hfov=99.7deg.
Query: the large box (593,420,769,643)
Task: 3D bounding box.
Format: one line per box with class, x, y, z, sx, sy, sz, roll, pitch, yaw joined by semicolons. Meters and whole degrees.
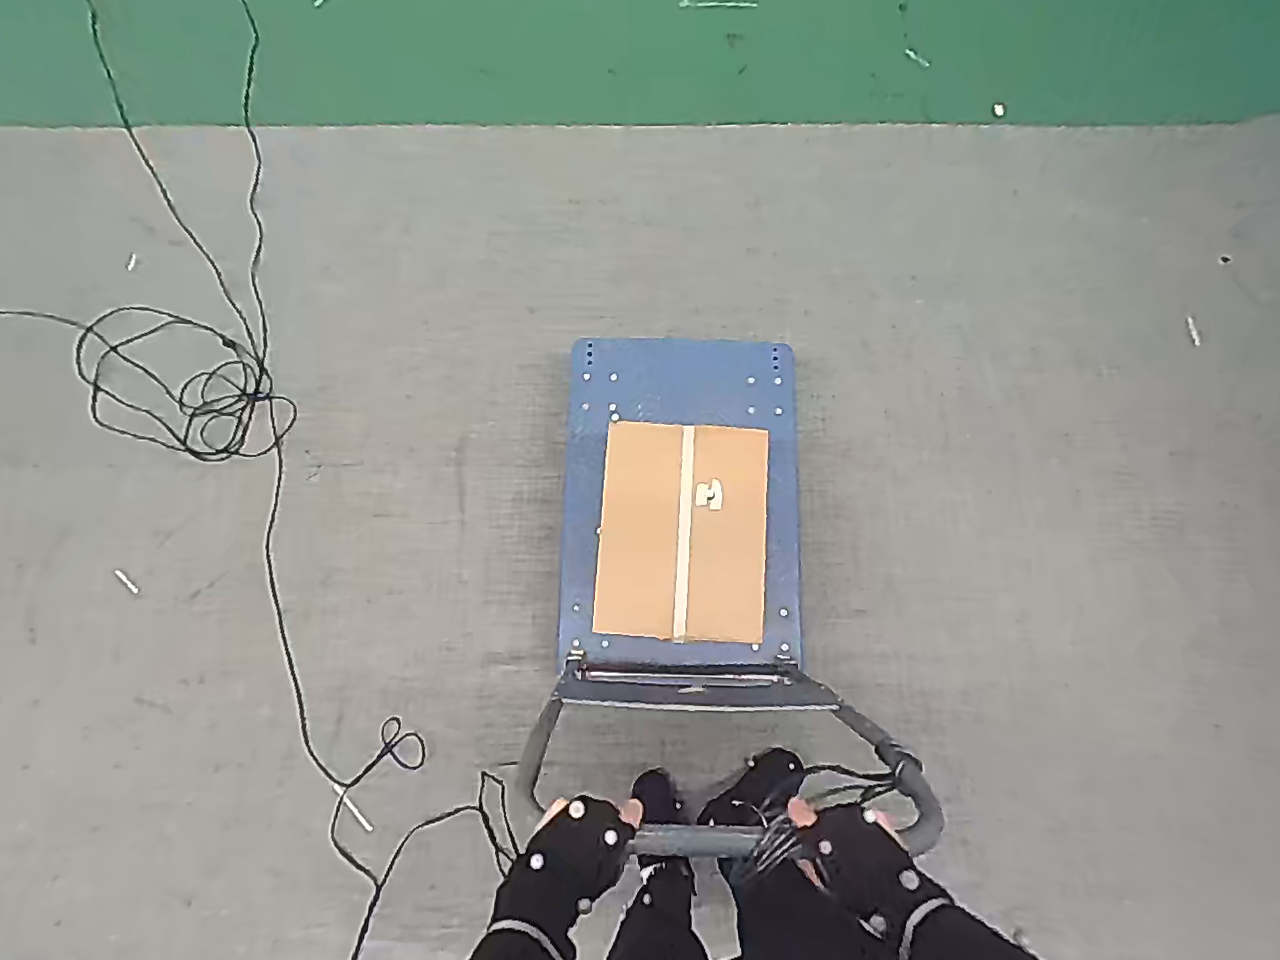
large box;0.082;0.118;1.150;0.320;0.320;0.408;5;79;0
